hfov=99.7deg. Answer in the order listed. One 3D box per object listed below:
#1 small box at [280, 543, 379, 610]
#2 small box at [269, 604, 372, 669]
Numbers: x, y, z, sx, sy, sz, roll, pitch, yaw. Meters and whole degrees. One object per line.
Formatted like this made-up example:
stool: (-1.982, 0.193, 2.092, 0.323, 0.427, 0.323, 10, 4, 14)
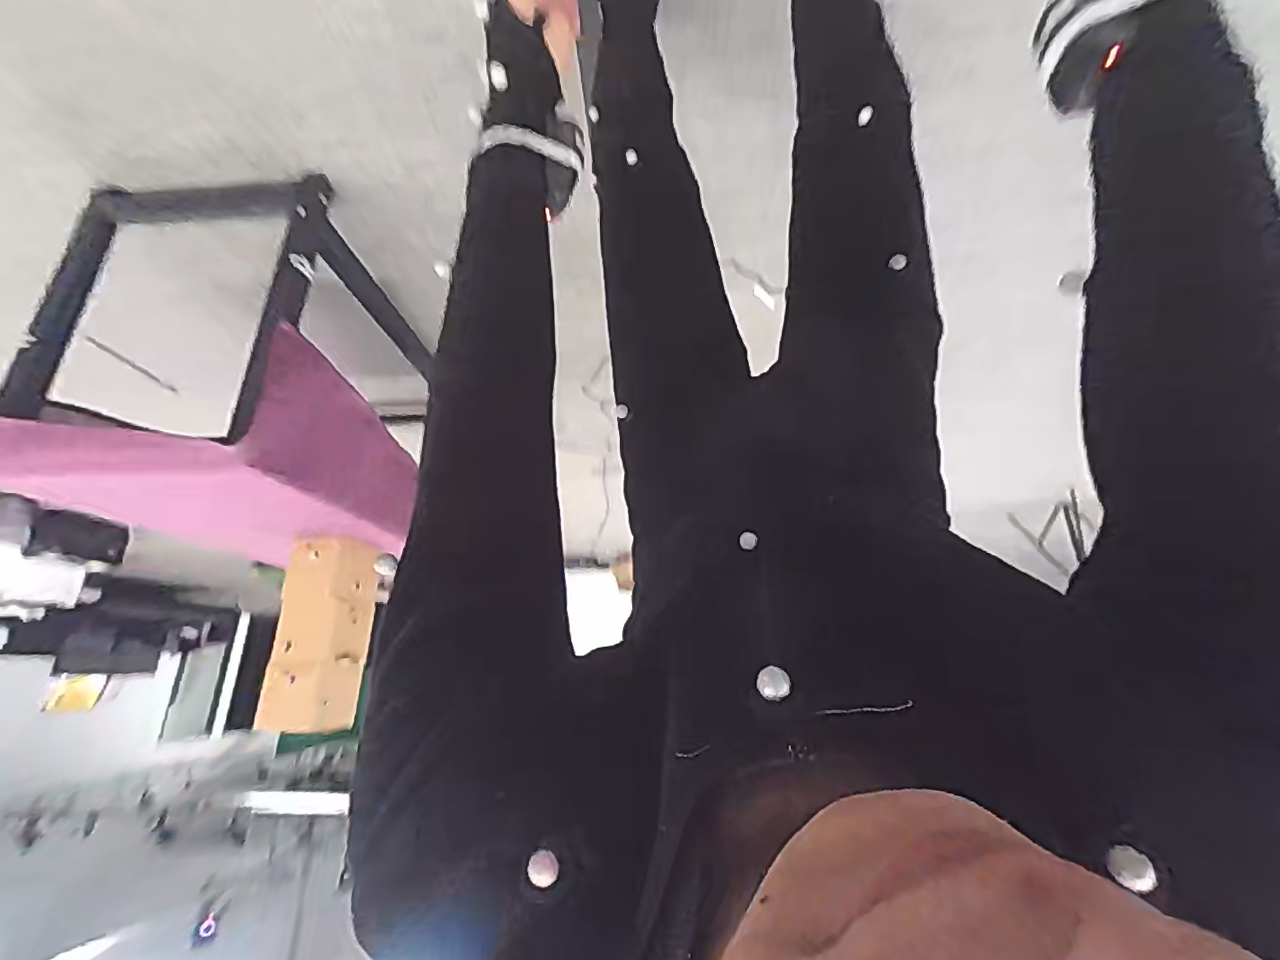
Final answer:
small box: (-0.890, 0.282, 1.569, 0.168, 0.176, 0.179, -5, 158, 13)
small box: (-0.895, 0.444, 1.531, 0.179, 0.176, 0.168, -3, 160, 8)
